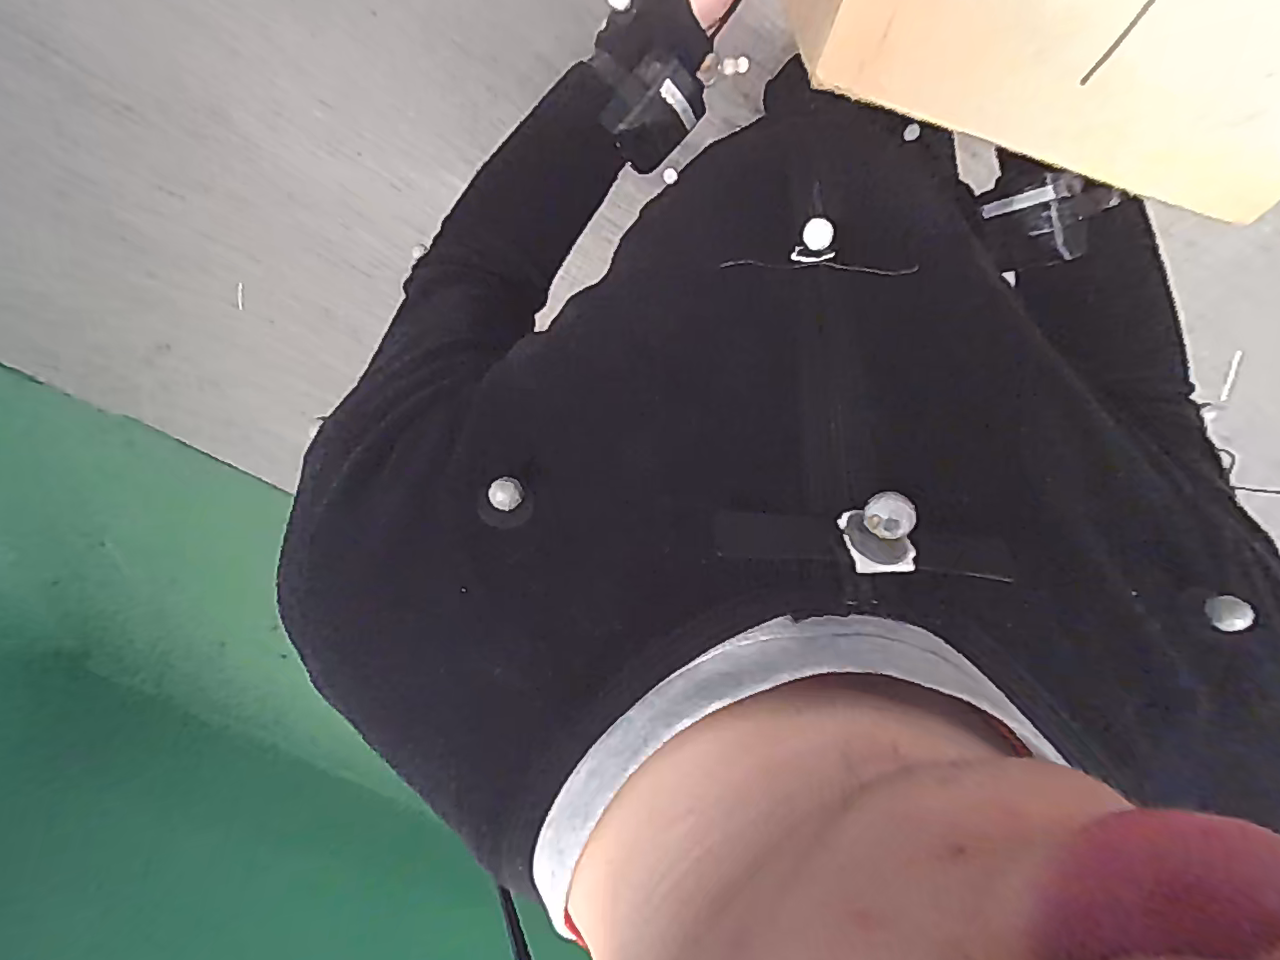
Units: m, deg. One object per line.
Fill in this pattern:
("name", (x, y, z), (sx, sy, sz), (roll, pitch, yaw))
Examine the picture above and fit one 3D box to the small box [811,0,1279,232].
("small box", (0.164, -0.218, 0.169), (0.168, 0.176, 0.179), (15, 139, -5))
